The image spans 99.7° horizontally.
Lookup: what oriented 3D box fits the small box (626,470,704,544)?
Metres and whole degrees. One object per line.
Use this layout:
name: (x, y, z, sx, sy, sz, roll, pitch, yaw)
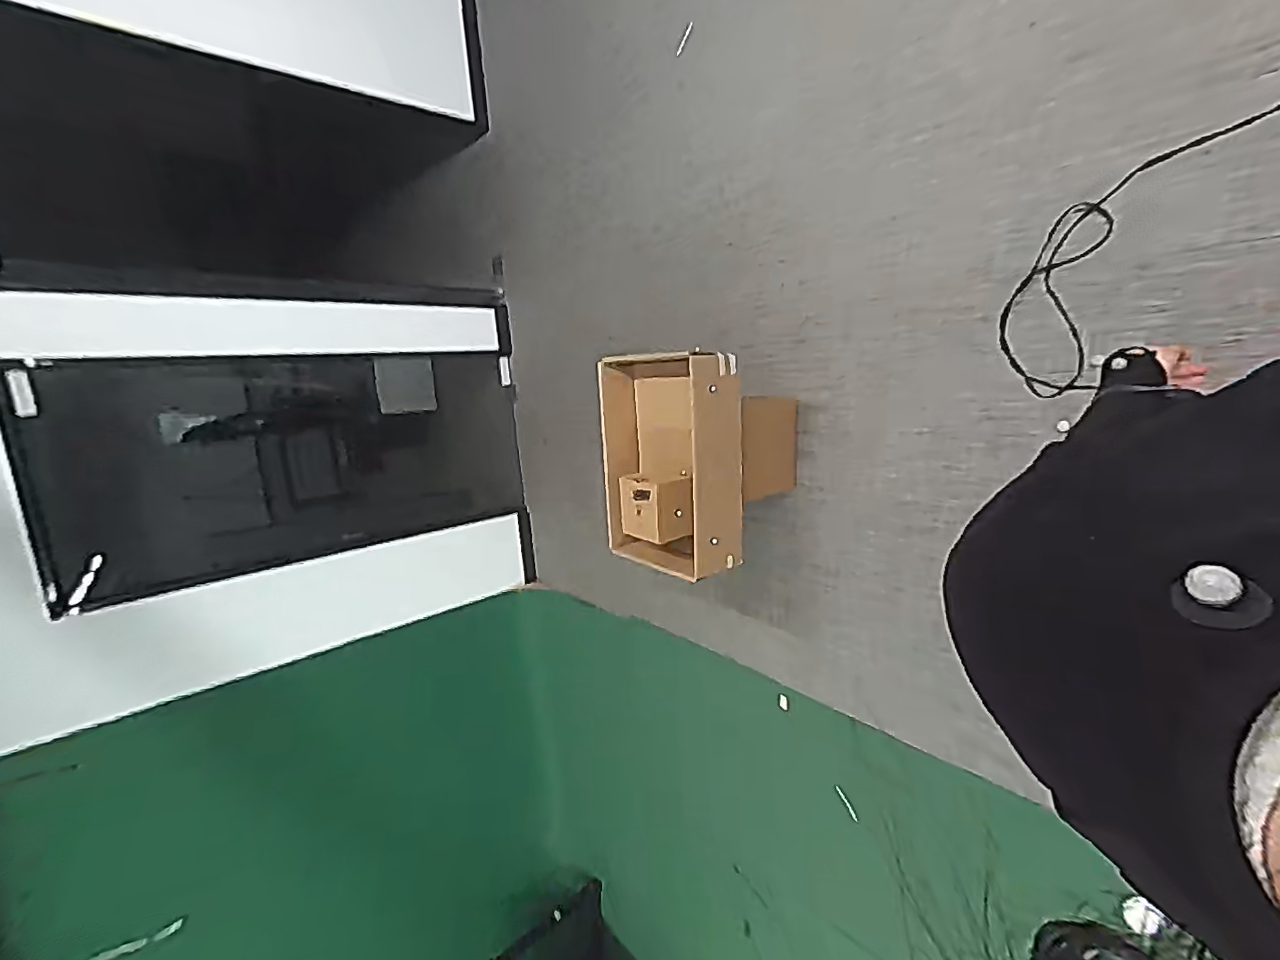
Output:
small box: (0.076, 0.071, 1.600, 0.168, 0.176, 0.179, 13, 109, 49)
